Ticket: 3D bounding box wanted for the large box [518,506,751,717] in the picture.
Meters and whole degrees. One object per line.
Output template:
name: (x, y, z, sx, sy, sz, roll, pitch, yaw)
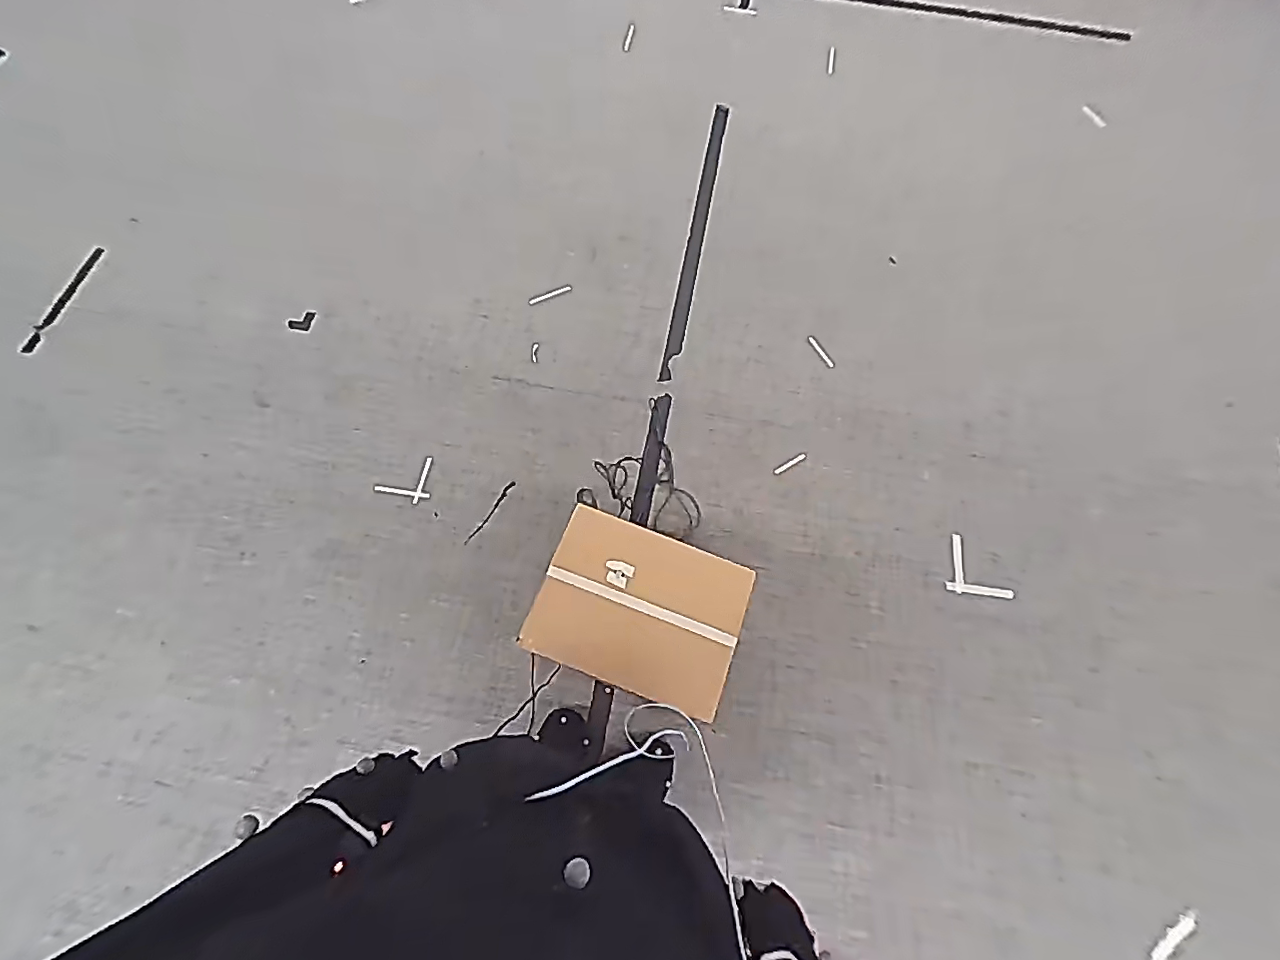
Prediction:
large box: (-0.009, 0.306, 1.229, 0.408, 0.320, 0.320, 21, 68, 5)
